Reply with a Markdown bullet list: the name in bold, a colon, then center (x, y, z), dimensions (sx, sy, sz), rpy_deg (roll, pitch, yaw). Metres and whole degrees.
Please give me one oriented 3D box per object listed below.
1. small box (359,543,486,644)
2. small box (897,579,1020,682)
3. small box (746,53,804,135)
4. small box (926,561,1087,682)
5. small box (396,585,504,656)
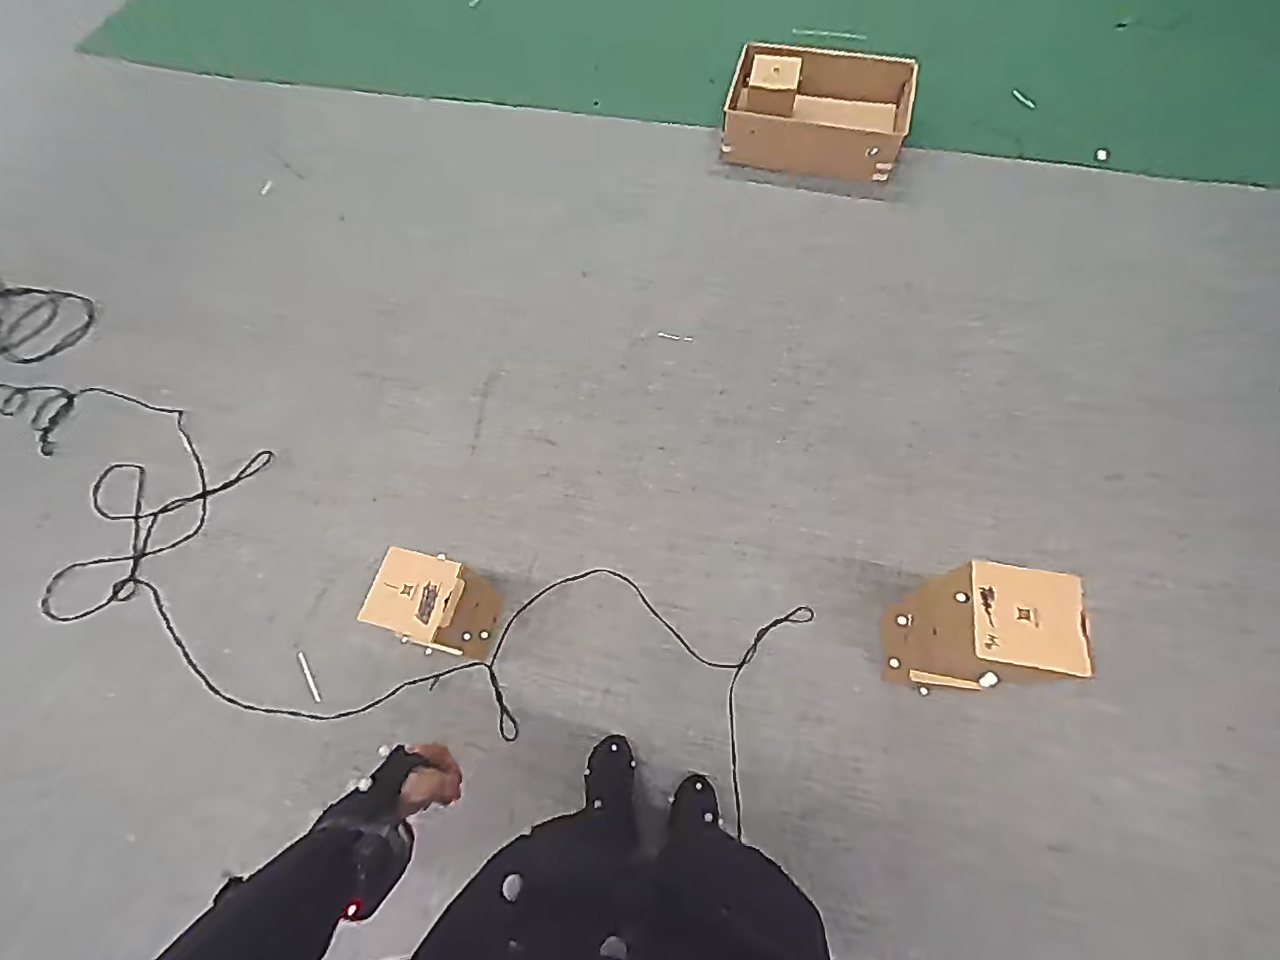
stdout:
- **small box**: center (-0.465, 0.257, 1.191), dimensions (0.179, 0.176, 0.168), rpy_deg (13, 68, 10)
- **small box**: center (0.654, 0.316, 1.115), dimensions (0.179, 0.176, 0.168), rpy_deg (9, 67, 8)
- **small box**: center (0.480, -1.385, 1.941), dimensions (0.168, 0.176, 0.179), rpy_deg (11, 69, 7)
- **small box**: center (0.639, 0.258, 0.962), dimensions (0.179, 0.176, 0.168), rpy_deg (10, 67, 6)
- **small box**: center (-0.458, 0.331, 1.338), dimensions (0.179, 0.176, 0.168), rpy_deg (13, 68, 9)
